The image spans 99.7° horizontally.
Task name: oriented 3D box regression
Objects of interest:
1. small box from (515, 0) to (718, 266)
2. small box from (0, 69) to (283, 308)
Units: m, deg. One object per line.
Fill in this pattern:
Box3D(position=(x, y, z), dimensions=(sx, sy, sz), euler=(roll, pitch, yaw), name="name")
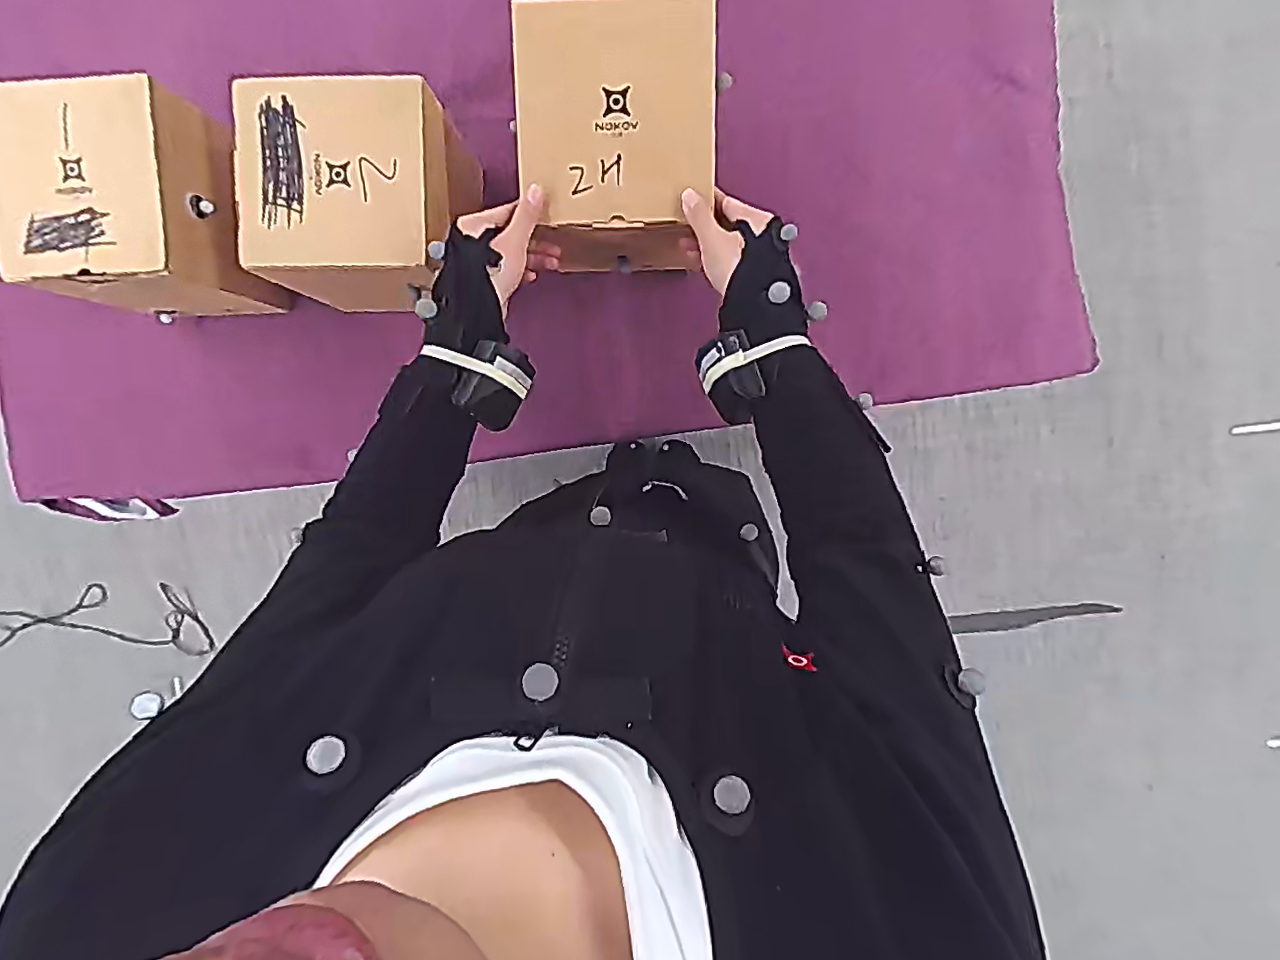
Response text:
Box3D(position=(-0.018, -0.318, 0.520), dimensions=(0.168, 0.176, 0.179), euler=(0, 99, 2), name="small box")
Box3D(position=(-0.512, -0.284, 0.570), dimensions=(0.168, 0.176, 0.179), euler=(-2, 95, 2), name="small box")
